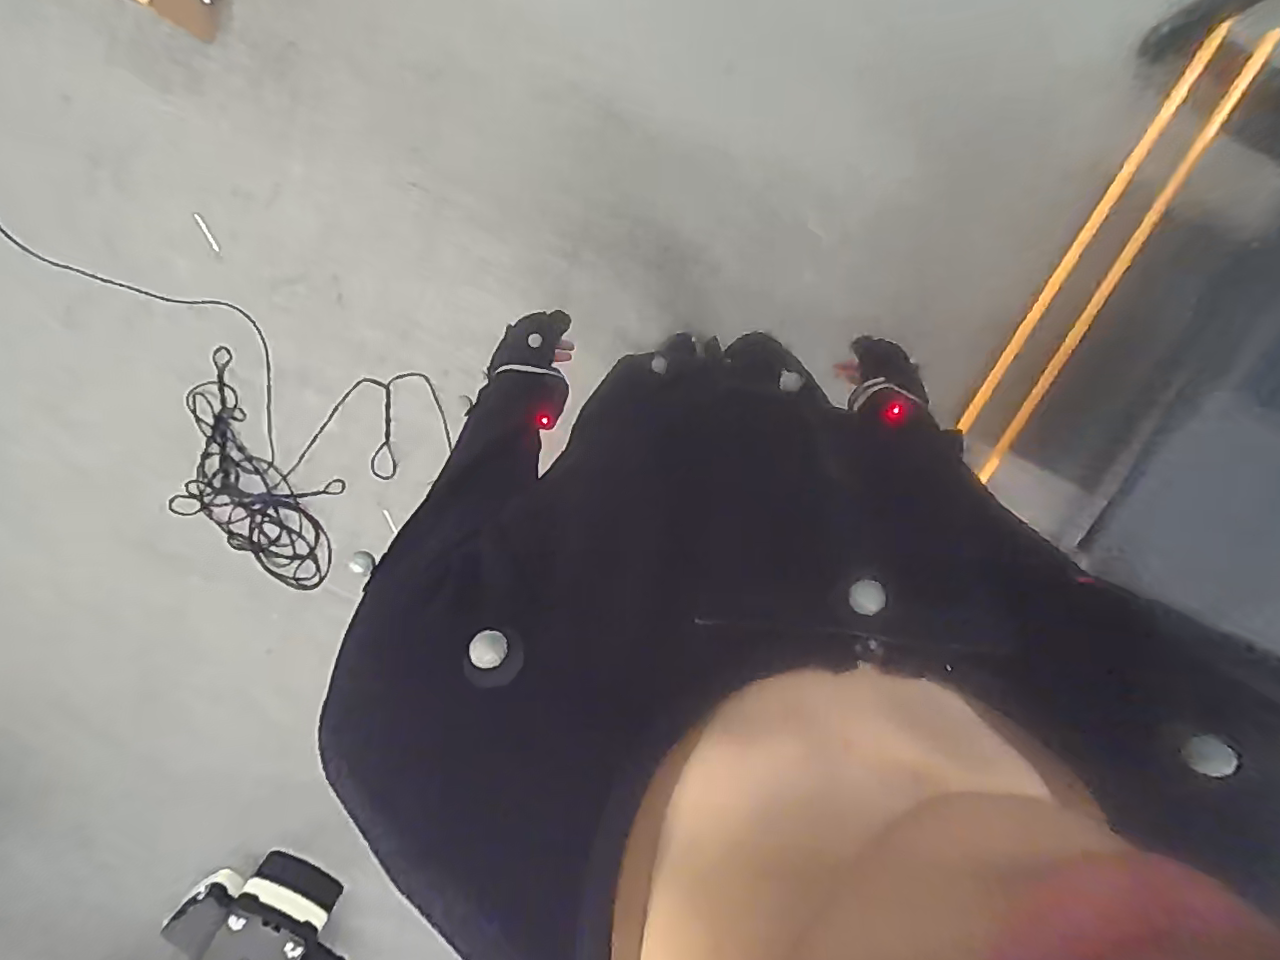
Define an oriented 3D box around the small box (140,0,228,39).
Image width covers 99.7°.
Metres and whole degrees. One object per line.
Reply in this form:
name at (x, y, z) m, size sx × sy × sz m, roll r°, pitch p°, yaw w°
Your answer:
small box at (-1.030, -1.104, 1.154) m, size 0.179 × 0.176 × 0.168 m, roll 29°, pitch 104°, yaw -6°
